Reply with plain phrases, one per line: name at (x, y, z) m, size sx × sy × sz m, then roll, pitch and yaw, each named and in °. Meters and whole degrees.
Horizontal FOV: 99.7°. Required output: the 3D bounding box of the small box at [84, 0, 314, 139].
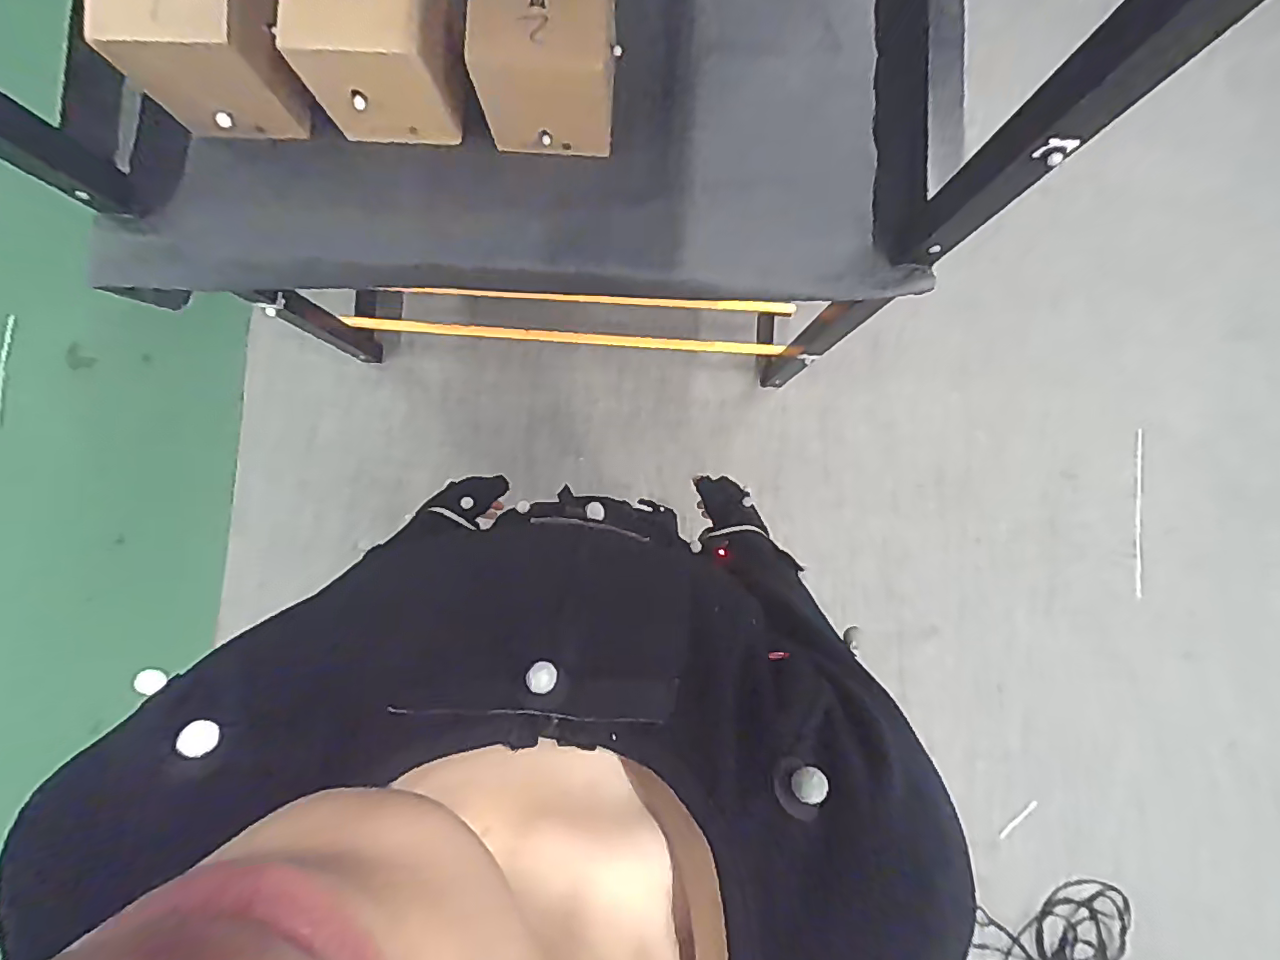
small box at (-0.556, -0.588, 0.706) m, size 0.168 × 0.176 × 0.179 m, roll 1°, pitch 88°, yaw -1°
